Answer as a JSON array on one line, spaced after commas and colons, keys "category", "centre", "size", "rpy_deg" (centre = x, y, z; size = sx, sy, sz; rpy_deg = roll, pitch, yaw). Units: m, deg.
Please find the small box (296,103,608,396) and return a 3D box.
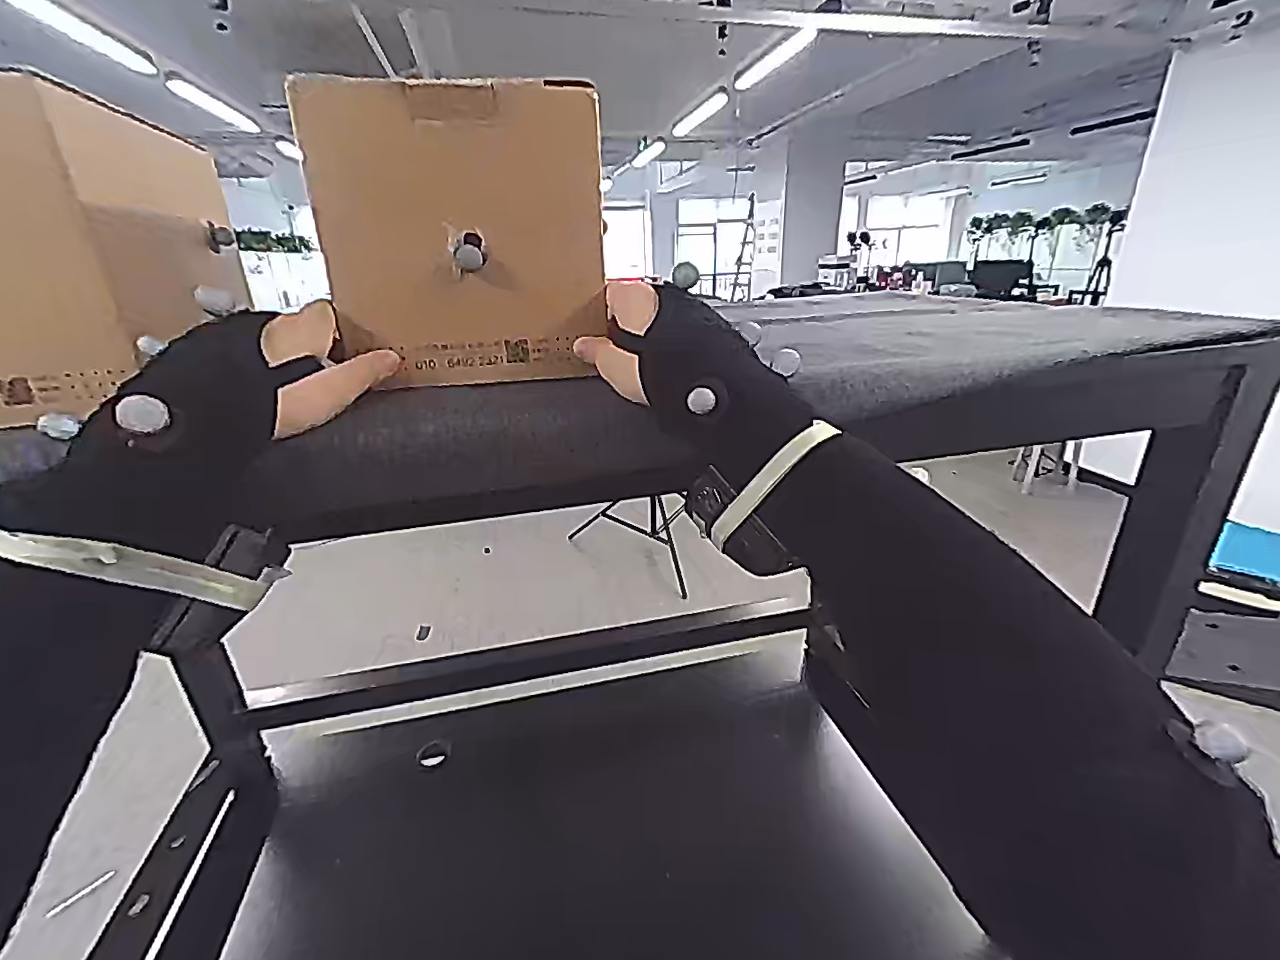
[{"category": "small box", "centre": [-0.119, -0.160, 0.405], "size": [0.168, 0.176, 0.179], "rpy_deg": [-6, 21, -11]}]
